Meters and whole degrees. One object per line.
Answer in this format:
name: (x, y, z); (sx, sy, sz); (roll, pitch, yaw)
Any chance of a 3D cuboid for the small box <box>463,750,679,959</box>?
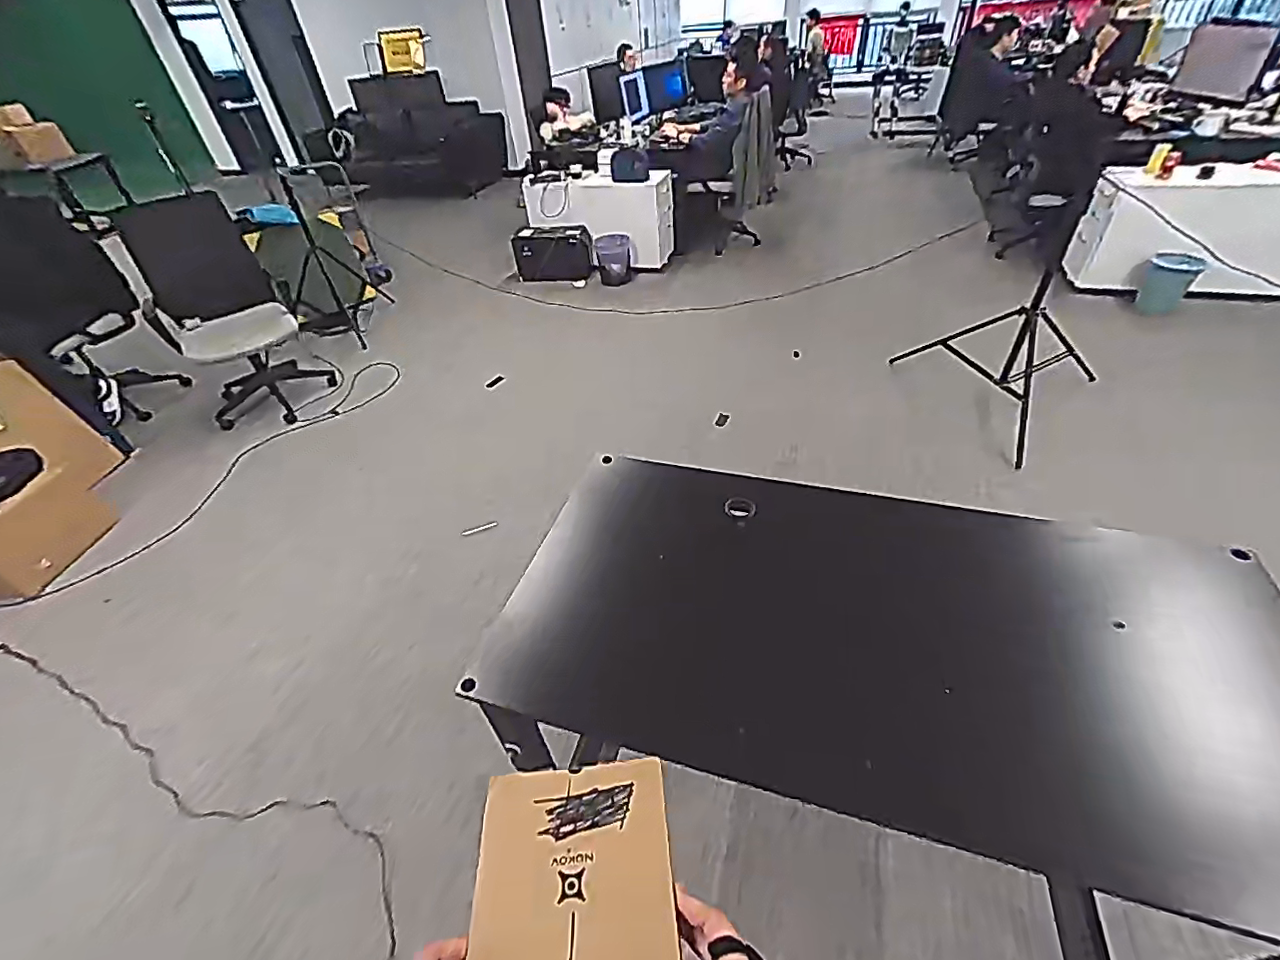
small box: (-0.052, 0.386, 0.508); (0.168, 0.176, 0.179); (-7, 39, 0)
